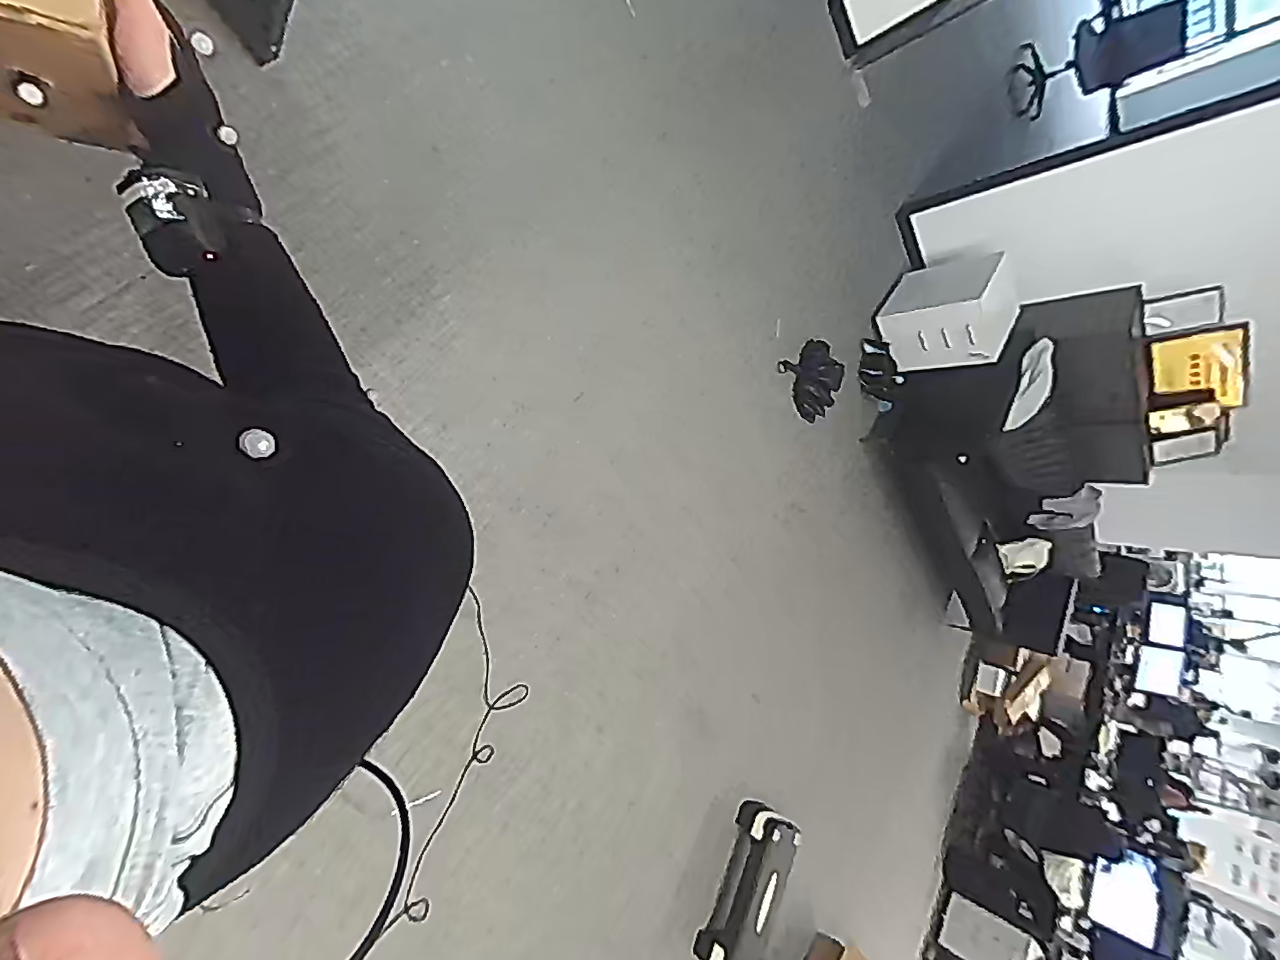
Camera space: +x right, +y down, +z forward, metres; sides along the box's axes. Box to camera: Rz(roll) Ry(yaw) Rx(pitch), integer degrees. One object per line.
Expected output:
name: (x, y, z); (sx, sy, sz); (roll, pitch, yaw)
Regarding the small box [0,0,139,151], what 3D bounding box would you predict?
small box: (-0.435, -0.344, 0.335); (0.168, 0.176, 0.179); (-6, 95, -39)
